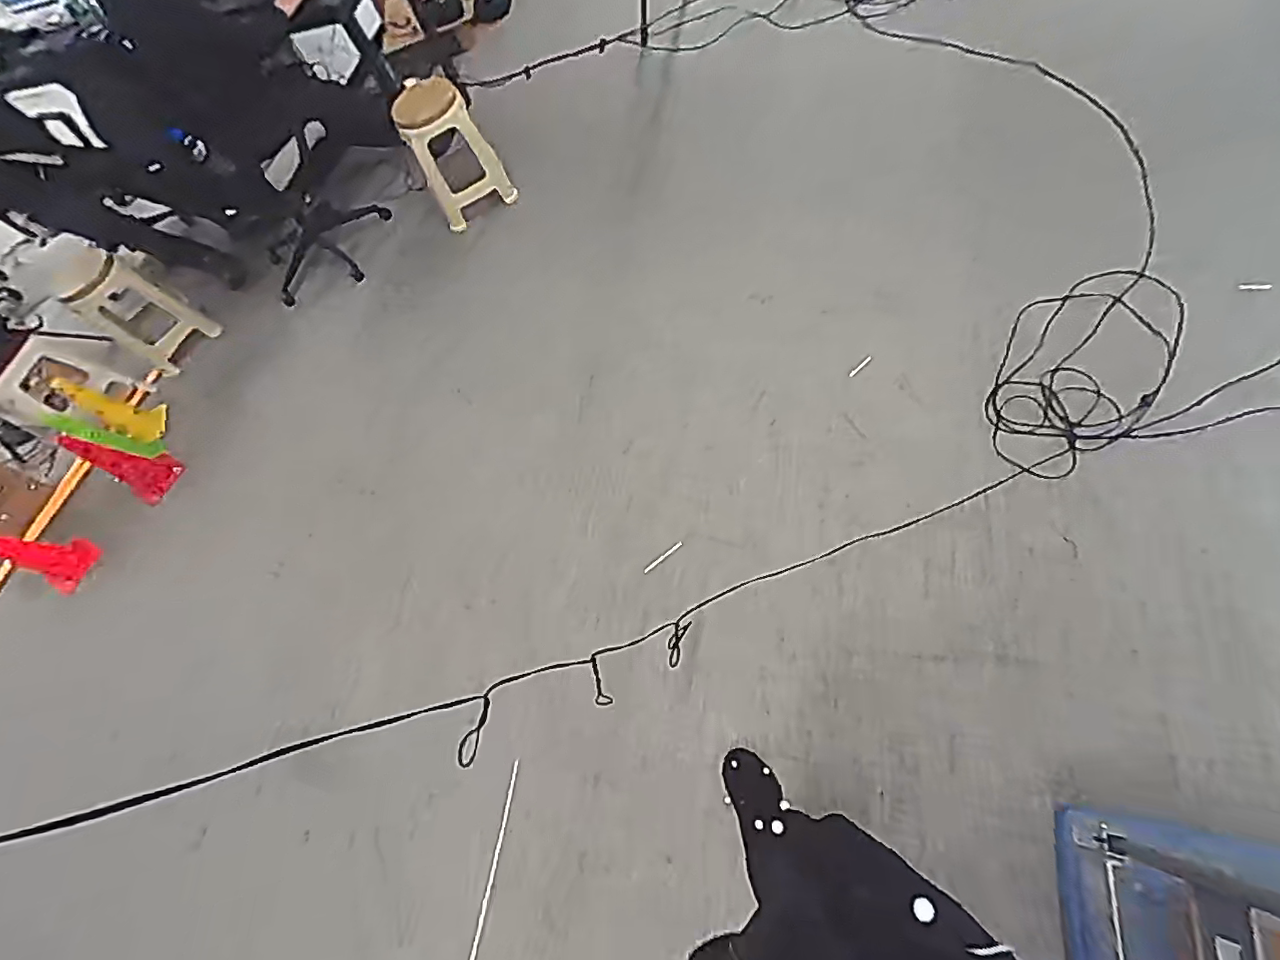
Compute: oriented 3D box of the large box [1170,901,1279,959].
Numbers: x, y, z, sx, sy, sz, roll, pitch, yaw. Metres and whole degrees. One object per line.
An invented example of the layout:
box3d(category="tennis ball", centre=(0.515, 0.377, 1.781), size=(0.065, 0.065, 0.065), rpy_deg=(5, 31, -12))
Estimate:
box3d(category="large box", centre=(1.063, 0.830, 0.716), size=(0.408, 0.320, 0.320), rpy_deg=(6, 67, 17))
